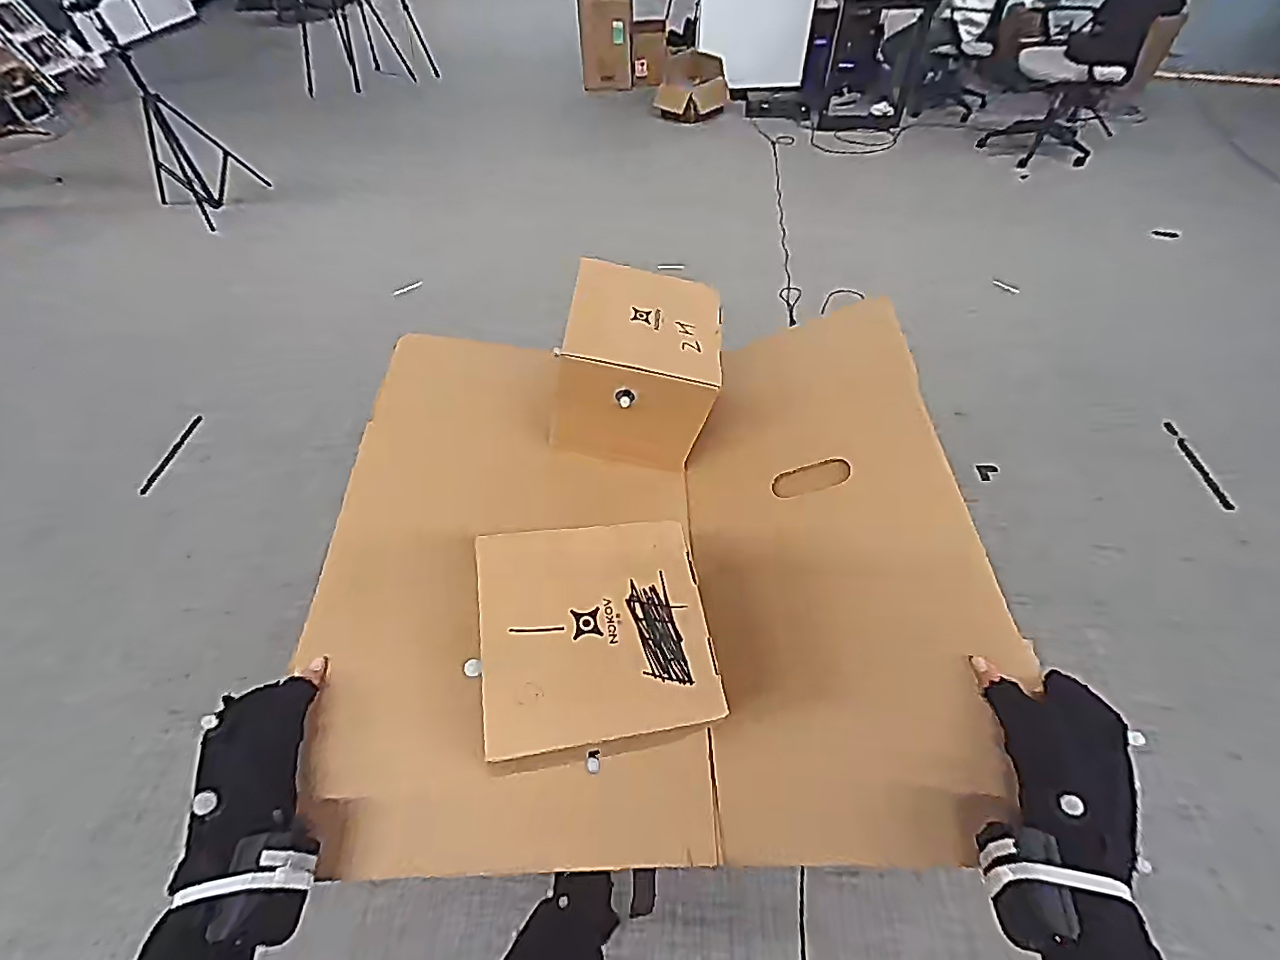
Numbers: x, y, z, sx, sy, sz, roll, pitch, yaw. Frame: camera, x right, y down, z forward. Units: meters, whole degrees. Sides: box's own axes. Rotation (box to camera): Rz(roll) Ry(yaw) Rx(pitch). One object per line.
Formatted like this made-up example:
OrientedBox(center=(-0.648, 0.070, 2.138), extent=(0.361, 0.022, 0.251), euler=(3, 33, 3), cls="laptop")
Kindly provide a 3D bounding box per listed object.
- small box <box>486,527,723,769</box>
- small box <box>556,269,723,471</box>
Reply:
OrientedBox(center=(-0.048, 0.156, 0.494), extent=(0.179, 0.176, 0.168), euler=(-3, 59, -15), cls="small box")
OrientedBox(center=(-0.005, -0.131, 0.688), extent=(0.179, 0.176, 0.168), euler=(12, 56, -7), cls="small box")
